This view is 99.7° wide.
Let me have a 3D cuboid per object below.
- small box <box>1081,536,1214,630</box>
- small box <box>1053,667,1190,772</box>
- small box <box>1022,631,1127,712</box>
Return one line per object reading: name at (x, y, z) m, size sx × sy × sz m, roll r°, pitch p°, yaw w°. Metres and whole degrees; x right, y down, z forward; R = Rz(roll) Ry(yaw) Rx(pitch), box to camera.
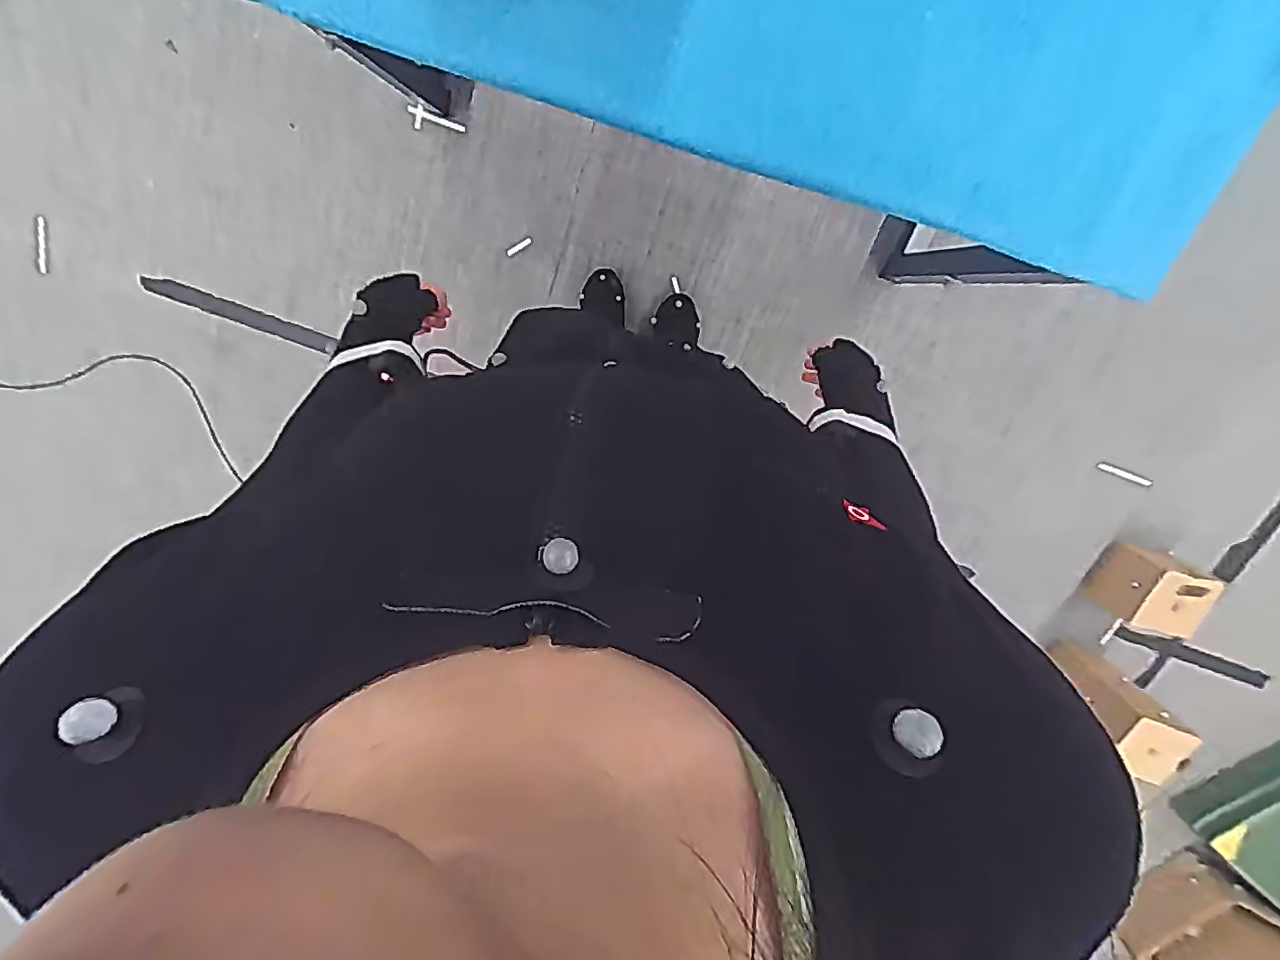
small box at (1.380, 0.276, 1.487) m, size 0.168 × 0.176 × 0.179 m, roll 14°, pitch 111°, yaw -2°
small box at (1.283, 0.637, 1.456) m, size 0.179 × 0.176 × 0.168 m, roll 22°, pitch 109°, yaw -4°
small box at (1.292, 0.588, 1.612) m, size 0.168 × 0.176 × 0.179 m, roll 22°, pitch 112°, yaw -6°
